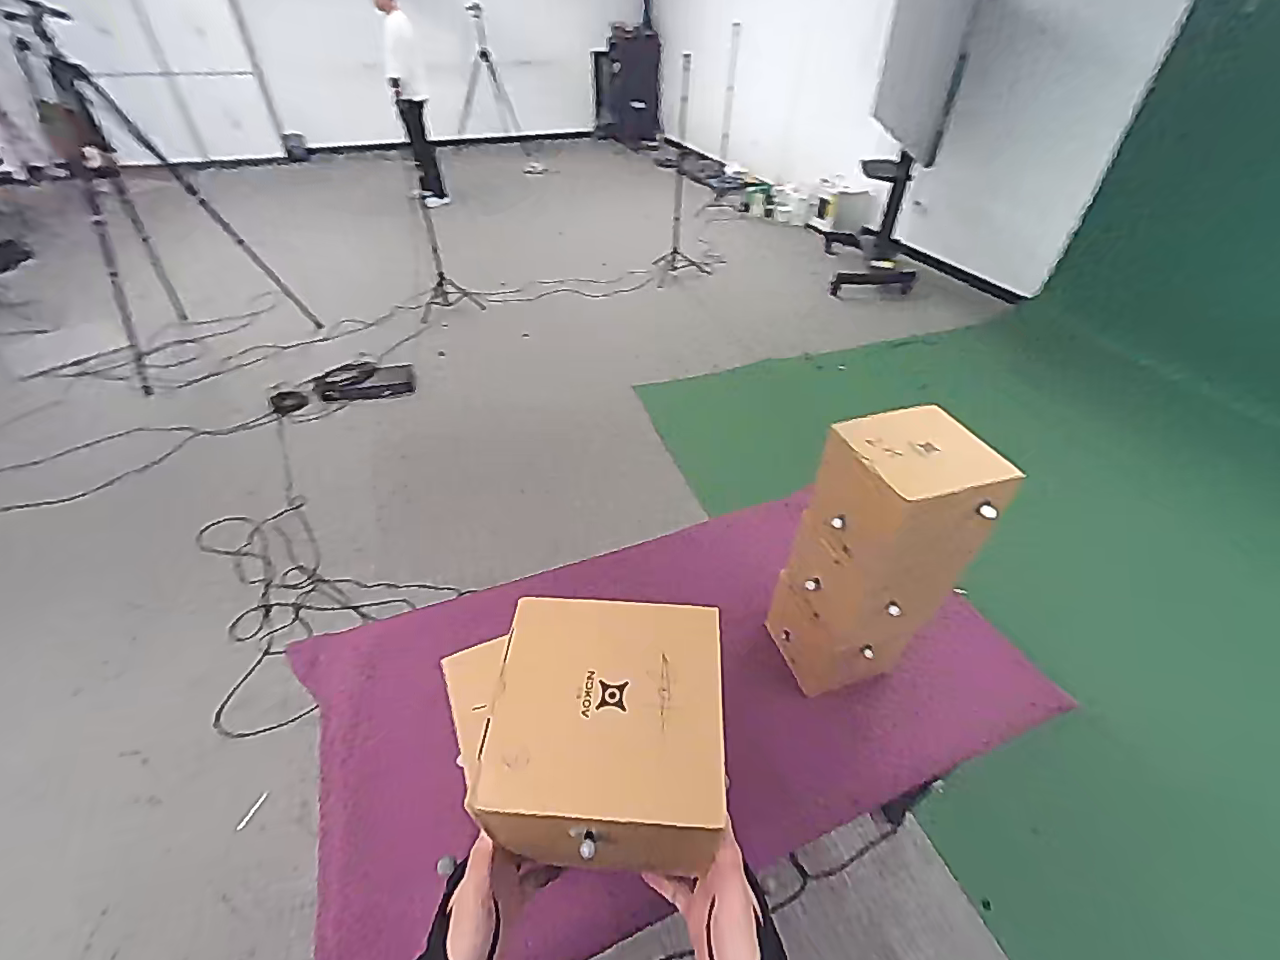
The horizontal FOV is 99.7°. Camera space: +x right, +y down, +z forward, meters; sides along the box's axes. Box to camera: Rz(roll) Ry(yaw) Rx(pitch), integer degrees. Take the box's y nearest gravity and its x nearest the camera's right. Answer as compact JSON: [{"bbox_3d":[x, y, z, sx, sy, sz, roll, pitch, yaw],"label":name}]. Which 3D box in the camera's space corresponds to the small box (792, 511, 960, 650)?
[{"bbox_3d":[0.362,0.149,0.874,0.179,0.176,0.168,-12,44,-13],"label":"small box"}]

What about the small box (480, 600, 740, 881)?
[{"bbox_3d":[-0.013,0.223,0.463,0.179,0.176,0.168,4,45,3],"label":"small box"}]

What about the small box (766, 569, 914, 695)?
[{"bbox_3d":[0.354,0.264,0.991,0.179,0.176,0.168,-11,43,-13],"label":"small box"}]

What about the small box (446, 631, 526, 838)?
[{"bbox_3d":[-0.125,0.304,0.675,0.179,0.176,0.168,-16,44,-19],"label":"small box"}]

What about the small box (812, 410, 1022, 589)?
[{"bbox_3d":[0.371,0.027,0.763,0.179,0.176,0.168,-11,43,-13],"label":"small box"}]
